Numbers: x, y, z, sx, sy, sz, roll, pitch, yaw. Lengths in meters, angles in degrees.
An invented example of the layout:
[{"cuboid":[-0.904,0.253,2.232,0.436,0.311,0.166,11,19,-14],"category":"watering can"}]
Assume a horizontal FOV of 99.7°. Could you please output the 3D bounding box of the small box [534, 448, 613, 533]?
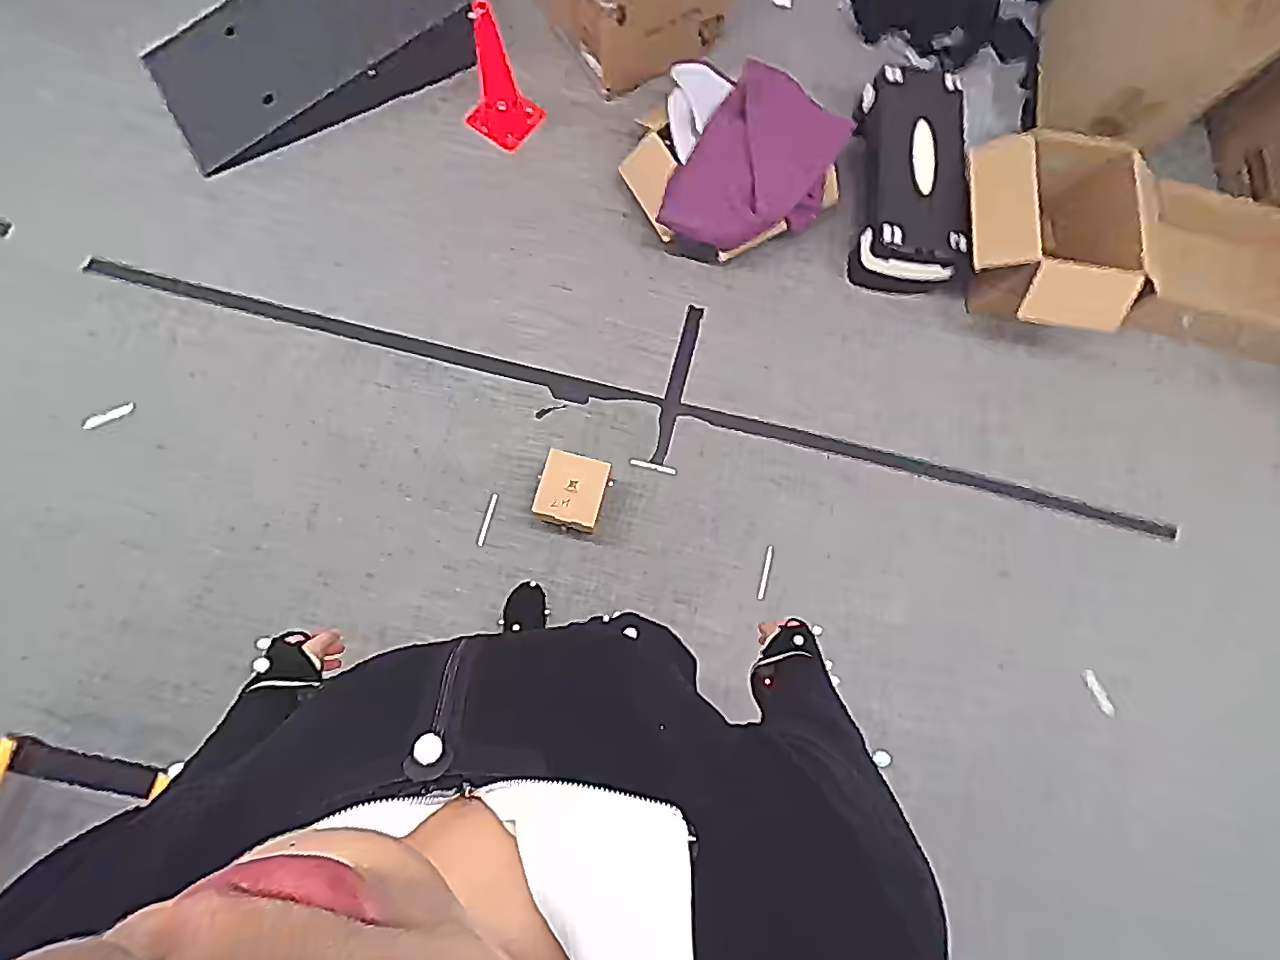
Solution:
[{"cuboid":[-0.177,0.033,1.464,0.168,0.176,0.179,16,78,0],"category":"small box"}]
